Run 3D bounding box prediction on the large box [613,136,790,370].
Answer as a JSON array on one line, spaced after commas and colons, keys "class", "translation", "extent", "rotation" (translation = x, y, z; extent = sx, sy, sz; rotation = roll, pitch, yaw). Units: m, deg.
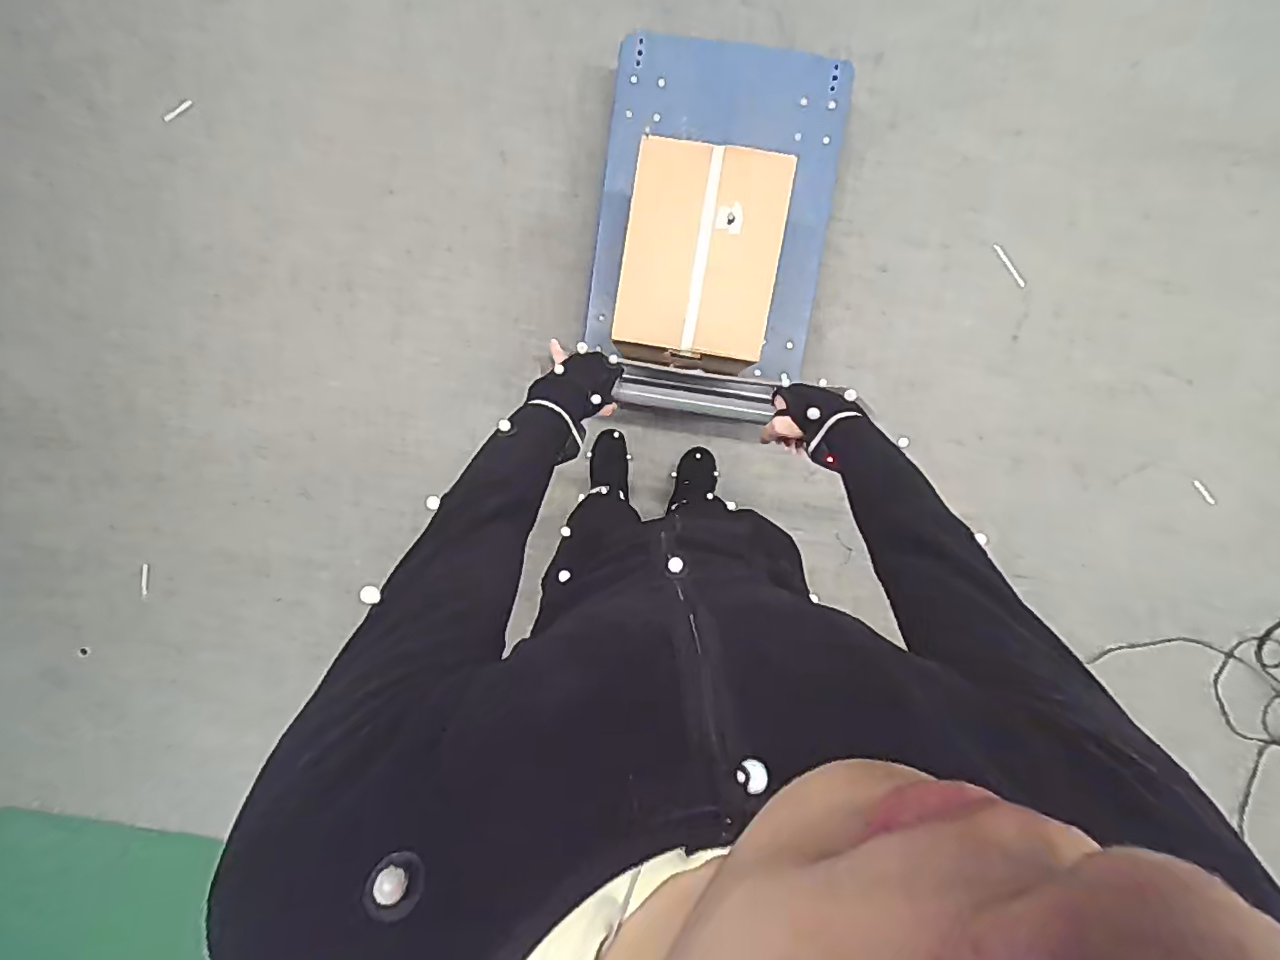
[{"class": "large box", "translation": [0.128, -0.487, 1.245], "extent": [0.320, 0.320, 0.408], "rotation": [9, 96, 1]}]
